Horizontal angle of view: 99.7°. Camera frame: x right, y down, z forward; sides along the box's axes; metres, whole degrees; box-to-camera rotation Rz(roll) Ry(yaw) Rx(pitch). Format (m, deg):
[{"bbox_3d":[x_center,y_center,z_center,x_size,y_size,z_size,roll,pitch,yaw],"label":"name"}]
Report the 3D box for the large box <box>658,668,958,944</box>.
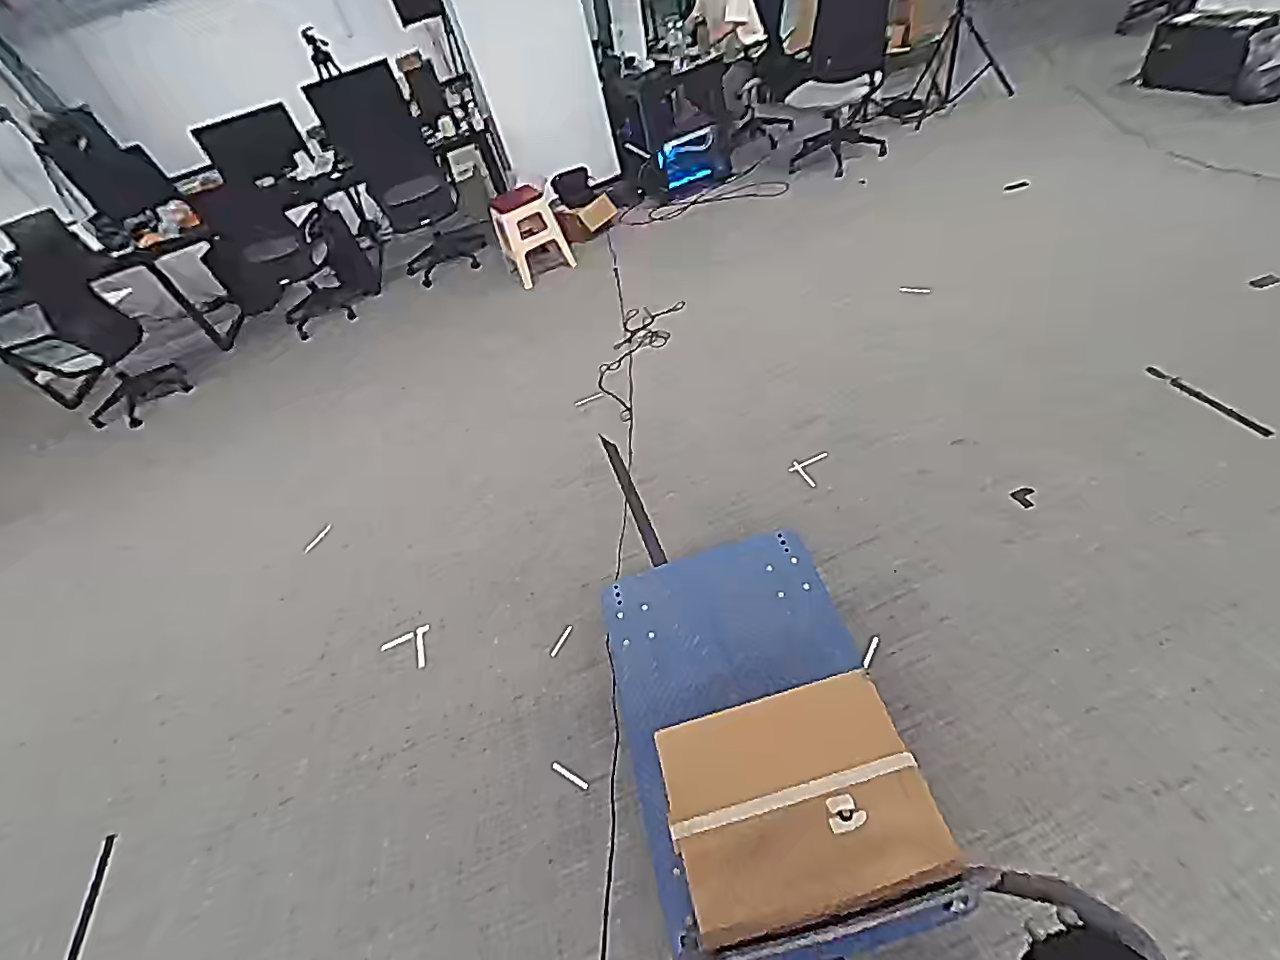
[{"bbox_3d":[0.284,0.609,1.014,0.408,0.320,0.320,-18,51,0],"label":"large box"}]
